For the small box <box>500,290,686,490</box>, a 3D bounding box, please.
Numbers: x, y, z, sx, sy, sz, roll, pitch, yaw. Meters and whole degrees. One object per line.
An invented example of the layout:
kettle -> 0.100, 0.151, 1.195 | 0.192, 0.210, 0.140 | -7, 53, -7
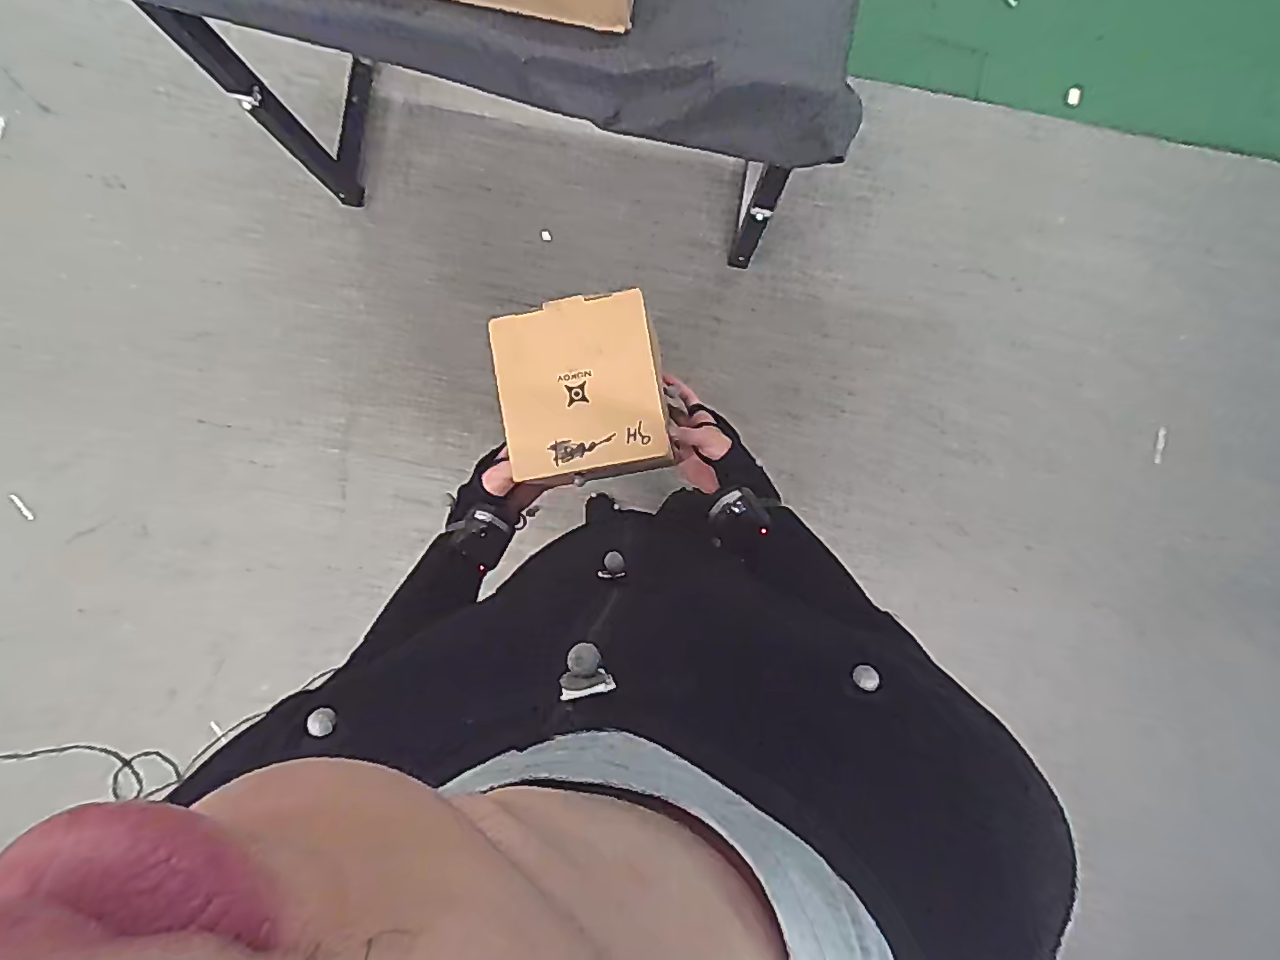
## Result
small box -> -0.044, -0.090, 0.629 | 0.168, 0.176, 0.179 | -11, 85, 8
